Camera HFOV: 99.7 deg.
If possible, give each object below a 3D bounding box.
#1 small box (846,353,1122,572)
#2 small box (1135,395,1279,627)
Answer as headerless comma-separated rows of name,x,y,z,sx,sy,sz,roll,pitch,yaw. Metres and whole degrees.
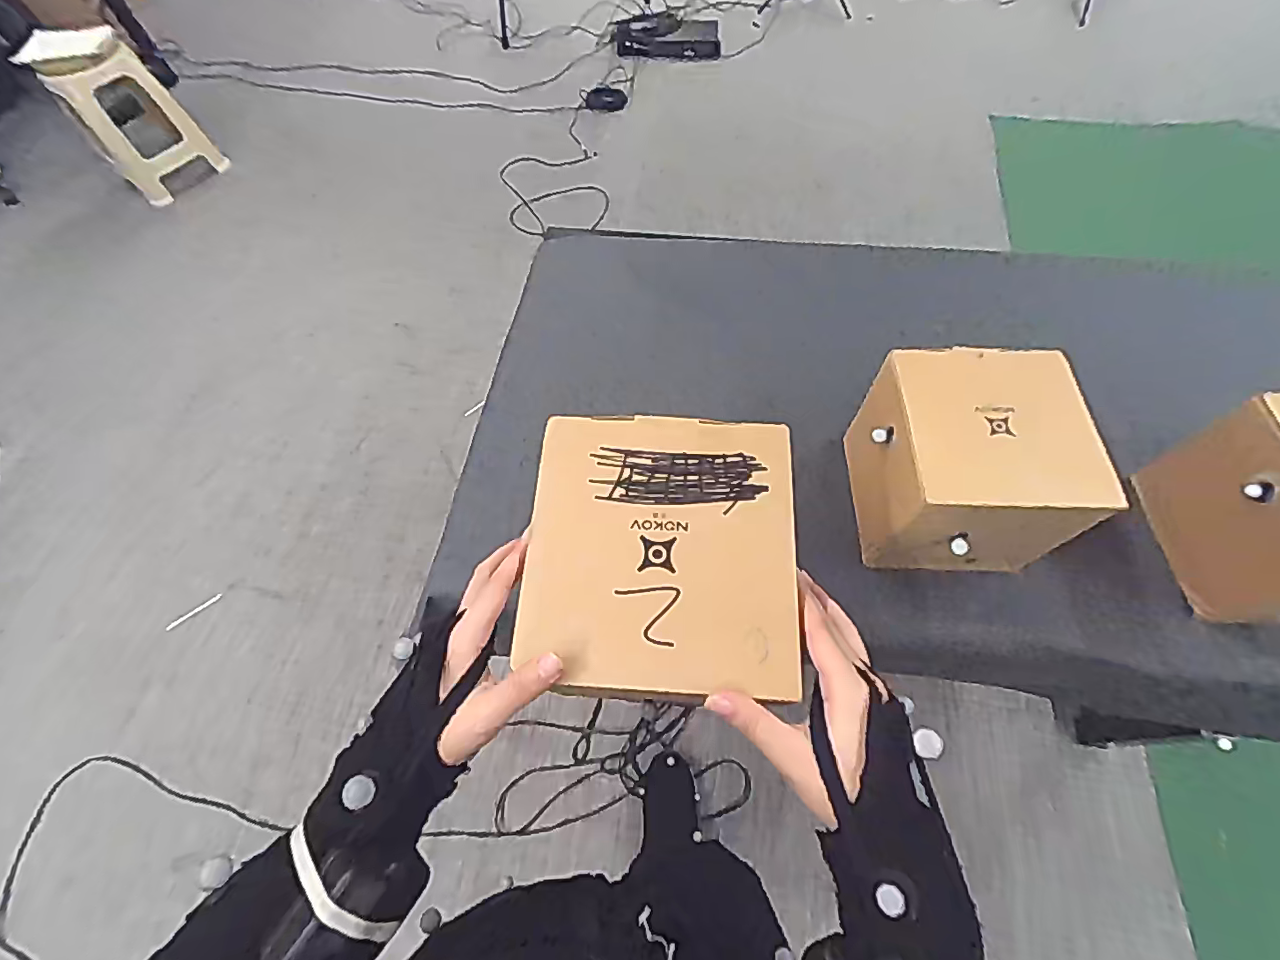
small box,0.330,-0.011,0.566,0.168,0.176,0.179,1,61,3
small box,0.650,0.035,0.525,0.168,0.176,0.179,-1,61,3
